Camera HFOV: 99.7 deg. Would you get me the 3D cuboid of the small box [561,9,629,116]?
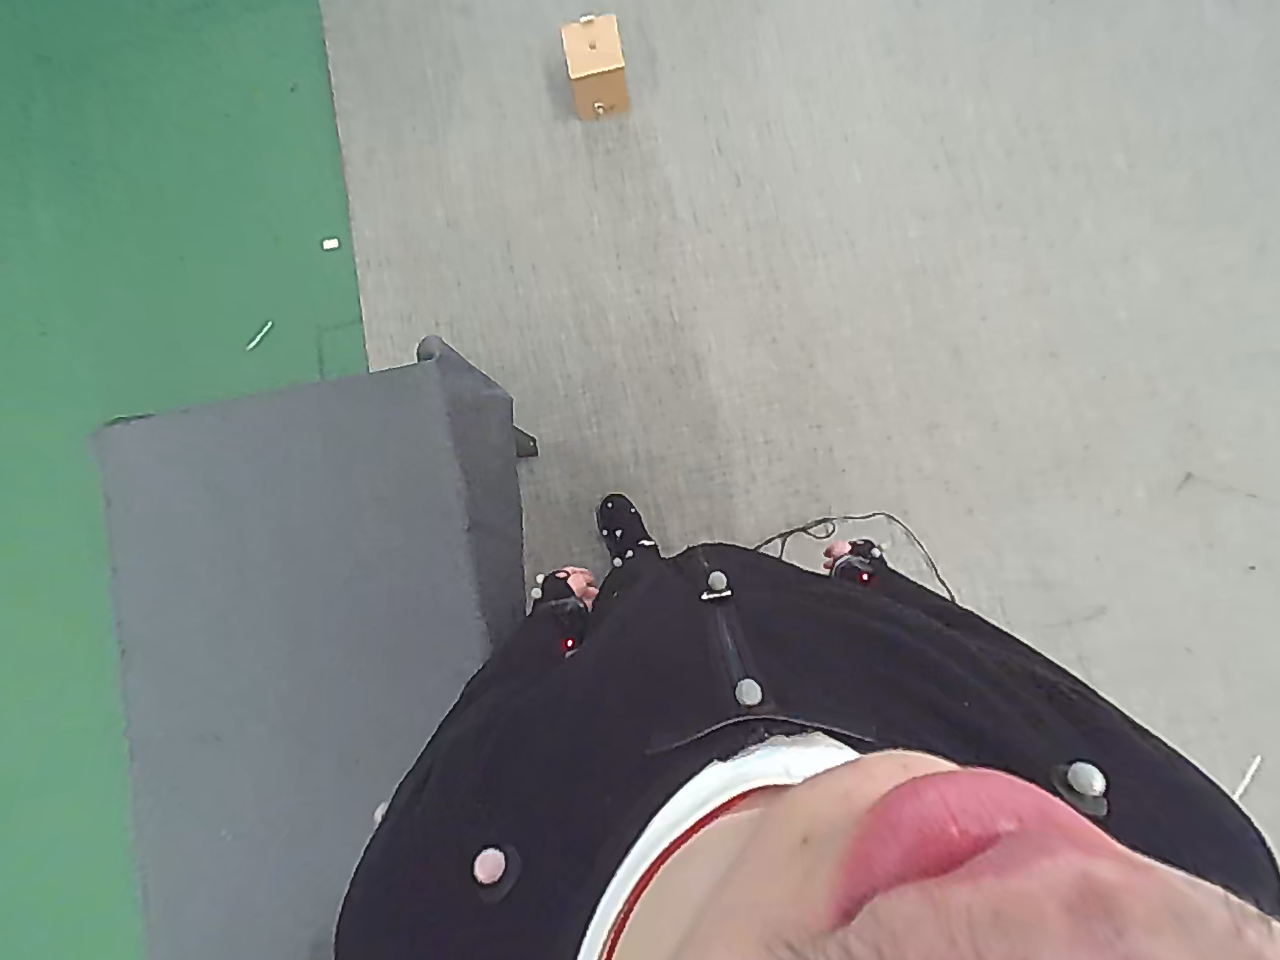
[{"bbox_3d":[-0.131,-1.250,1.628,0.168,0.176,0.179,-9,84,5],"label":"small box"}]
